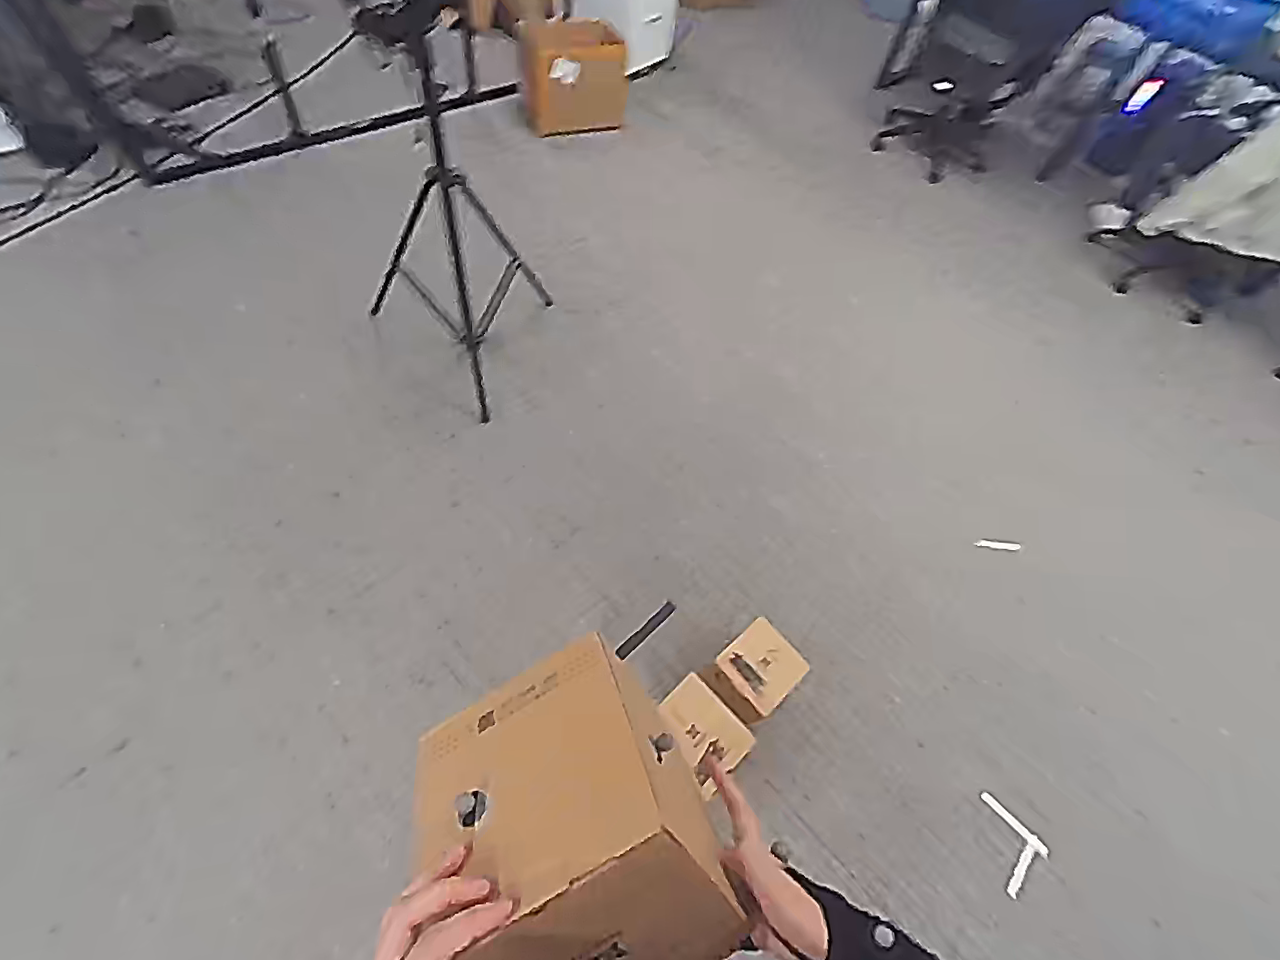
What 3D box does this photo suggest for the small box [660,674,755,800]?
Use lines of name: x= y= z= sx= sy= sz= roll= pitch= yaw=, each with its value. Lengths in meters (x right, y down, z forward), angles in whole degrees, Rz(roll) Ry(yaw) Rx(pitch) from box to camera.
small box: x=0.091 y=0.521 z=1.072 sx=0.168 sy=0.176 sz=0.179 roll=-37 pitch=70 yaw=-27

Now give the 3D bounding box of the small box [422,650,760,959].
small box: x=-0.041 y=0.257 z=0.406 sx=0.168 sy=0.179 sz=0.176 roll=-29 pitch=32 yaw=-2
